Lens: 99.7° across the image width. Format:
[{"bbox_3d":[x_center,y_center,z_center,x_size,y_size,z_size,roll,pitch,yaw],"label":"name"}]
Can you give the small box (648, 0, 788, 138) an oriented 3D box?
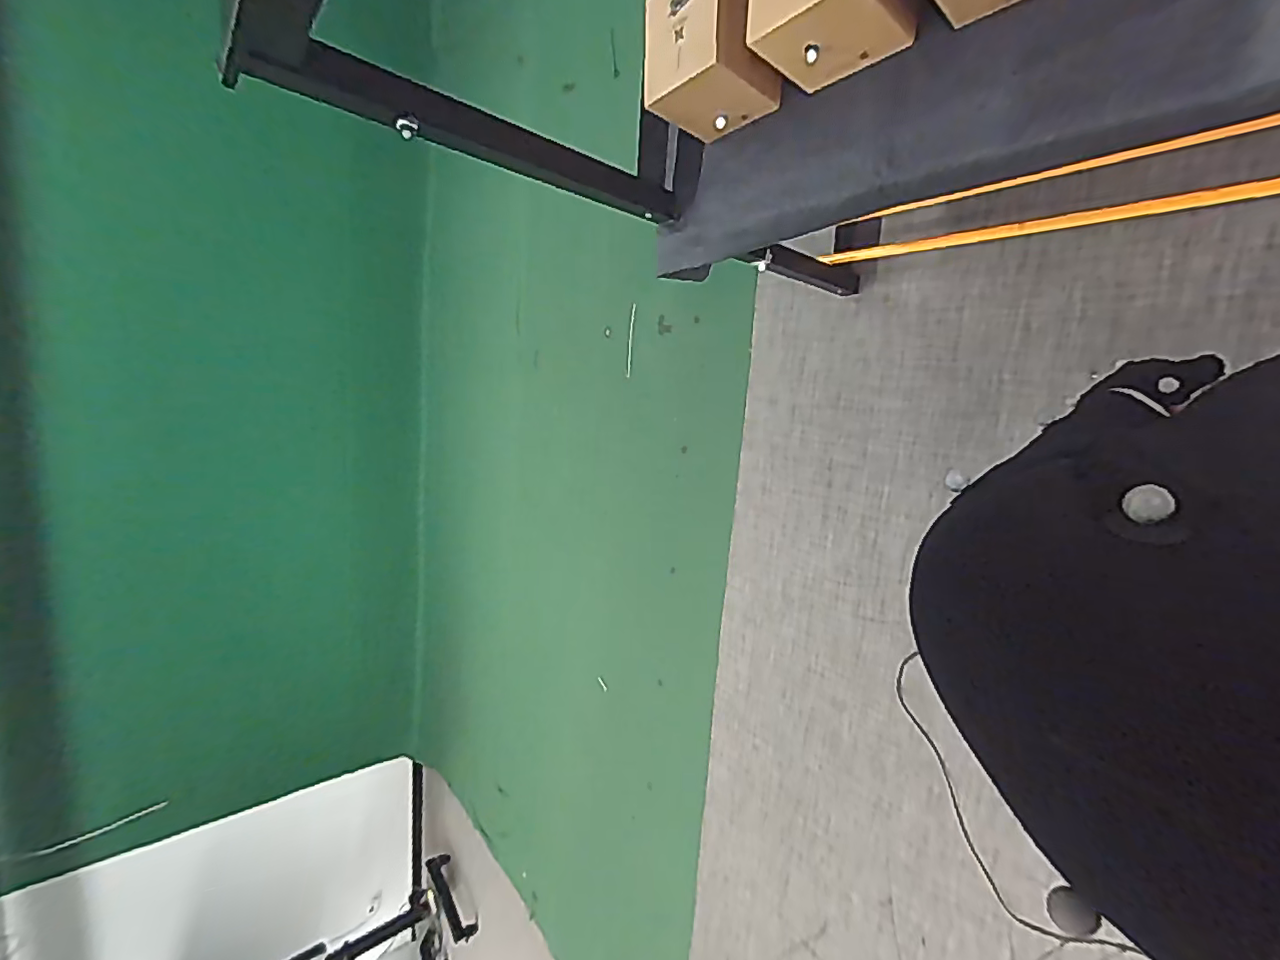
[{"bbox_3d":[0.133,-0.724,0.913,0.168,0.176,0.179,9,99,49],"label":"small box"}]
